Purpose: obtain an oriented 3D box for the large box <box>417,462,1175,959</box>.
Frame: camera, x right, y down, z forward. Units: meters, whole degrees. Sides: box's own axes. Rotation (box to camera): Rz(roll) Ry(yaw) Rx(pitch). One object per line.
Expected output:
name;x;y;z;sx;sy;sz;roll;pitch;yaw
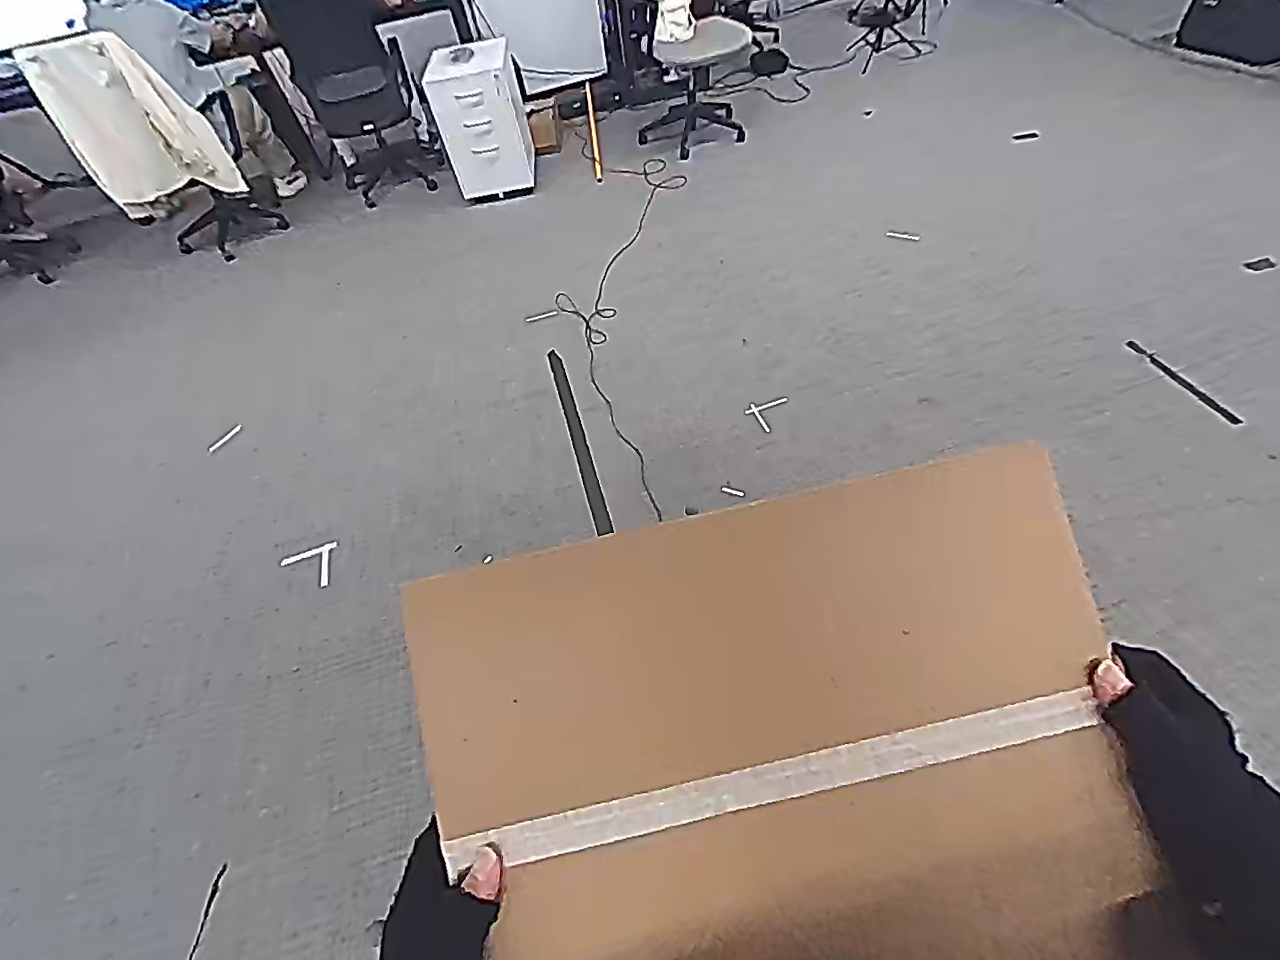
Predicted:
large box;0.089;0.196;0.473;0.408;0.320;0.320;-14;83;-1
